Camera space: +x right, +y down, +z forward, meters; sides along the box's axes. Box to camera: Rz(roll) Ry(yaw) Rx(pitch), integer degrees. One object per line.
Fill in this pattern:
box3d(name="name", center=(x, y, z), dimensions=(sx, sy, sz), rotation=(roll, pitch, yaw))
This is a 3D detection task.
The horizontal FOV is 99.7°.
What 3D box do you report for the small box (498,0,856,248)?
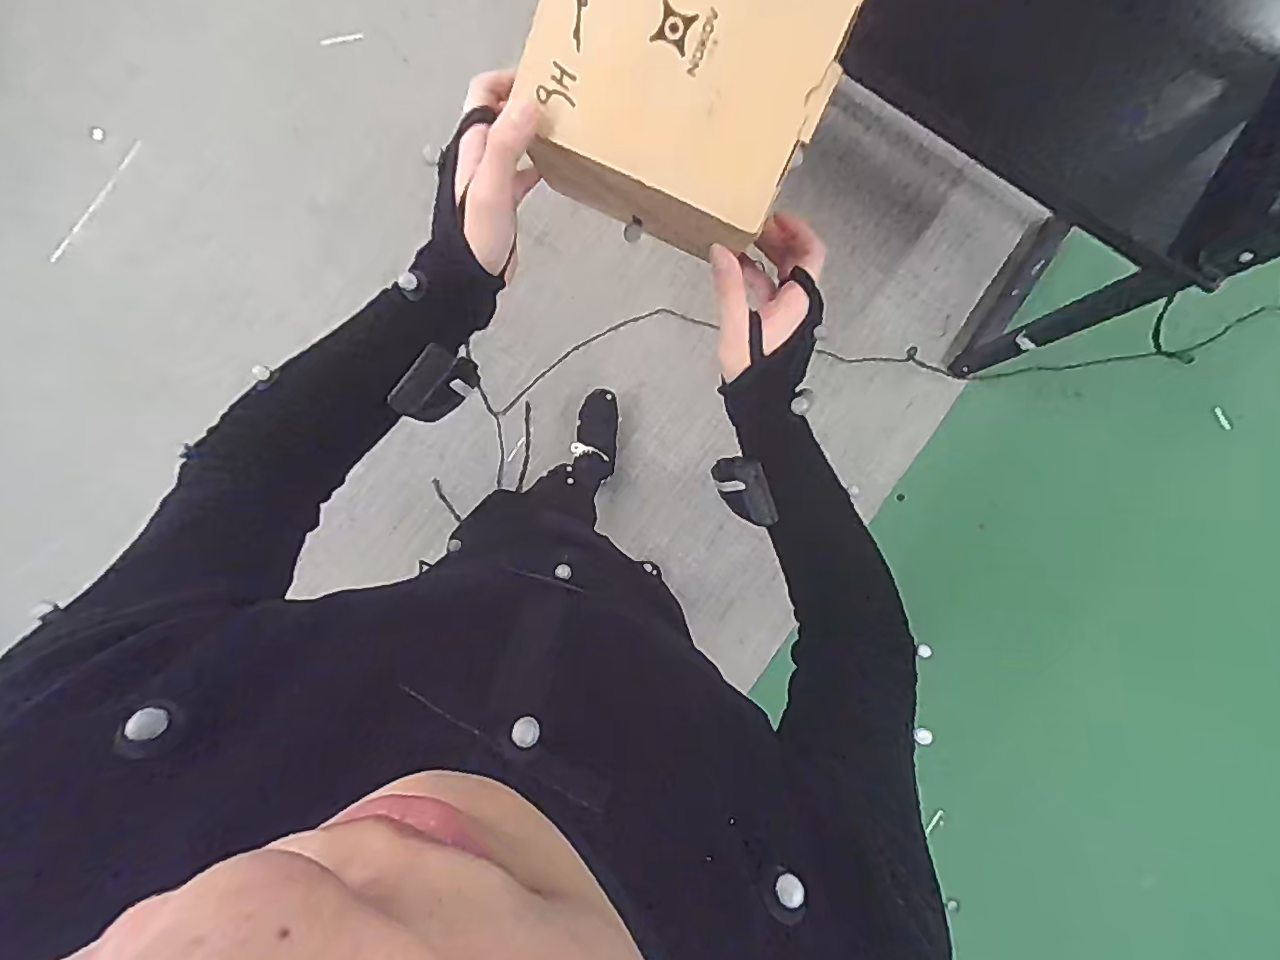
box3d(name="small box", center=(0.025, -0.287, 0.393), dimensions=(0.179, 0.176, 0.168), rotation=(23, 103, -5))
